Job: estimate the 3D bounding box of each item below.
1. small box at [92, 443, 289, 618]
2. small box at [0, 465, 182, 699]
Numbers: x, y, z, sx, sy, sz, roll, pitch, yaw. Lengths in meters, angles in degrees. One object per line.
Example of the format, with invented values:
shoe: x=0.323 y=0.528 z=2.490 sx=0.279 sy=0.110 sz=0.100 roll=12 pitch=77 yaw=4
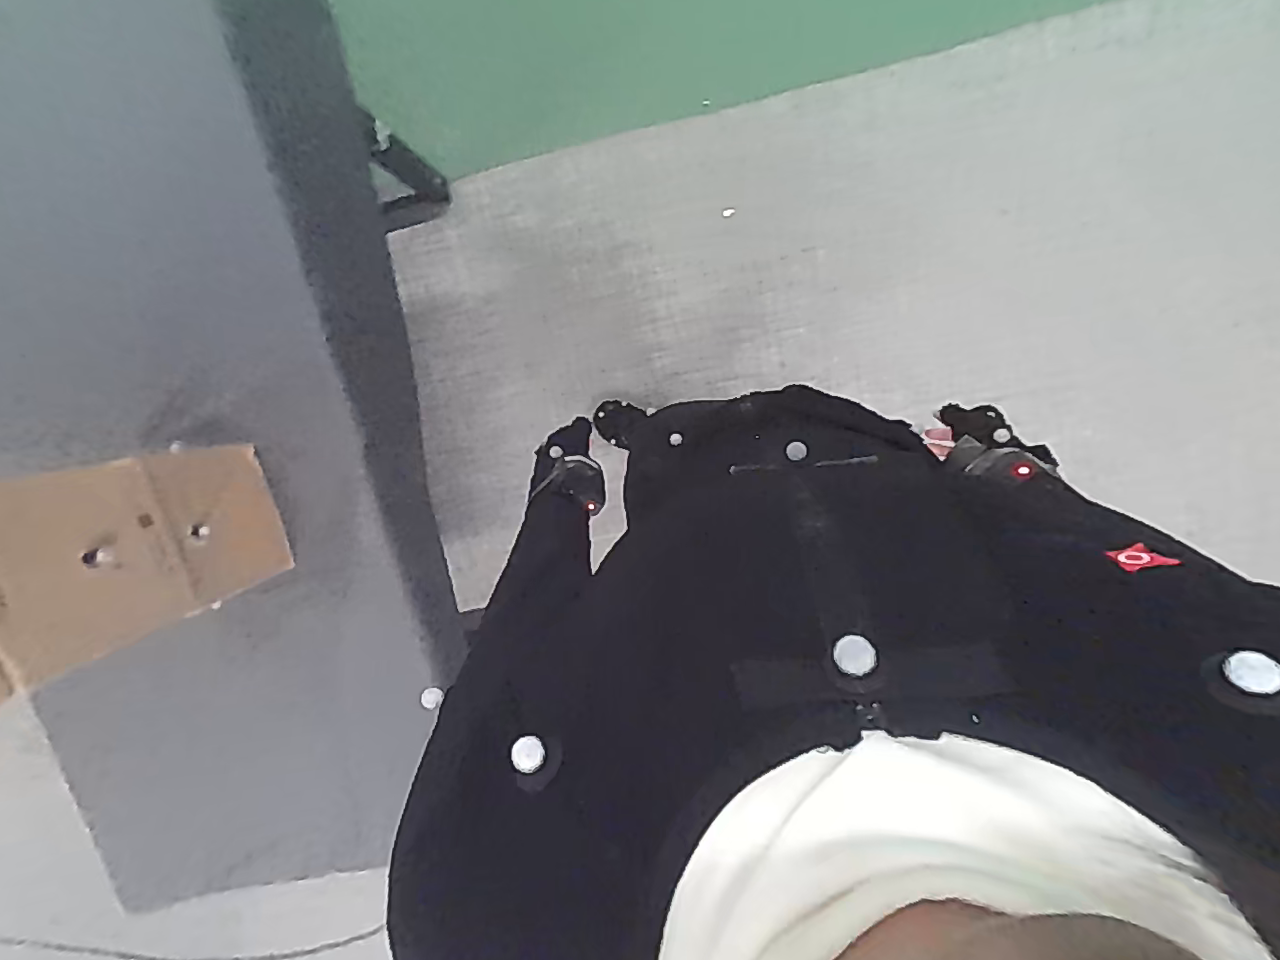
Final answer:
small box: x=-0.572 y=0.063 z=0.652 sx=0.168 sy=0.176 sz=0.179 roll=-13 pitch=99 yaw=5
small box: x=-0.574 y=0.092 z=0.491 sx=0.179 sy=0.176 sz=0.168 roll=-14 pitch=100 yaw=5
